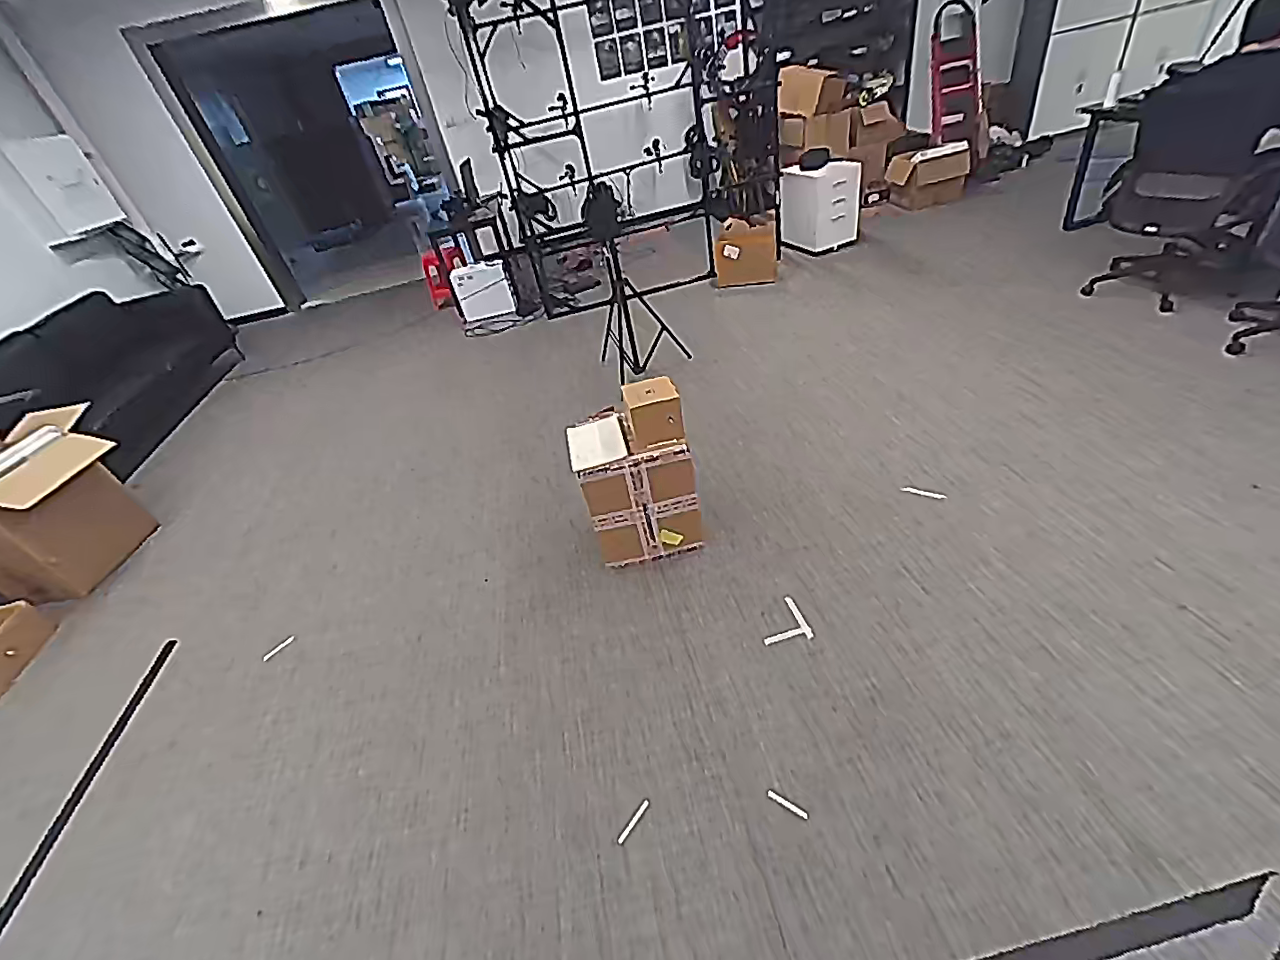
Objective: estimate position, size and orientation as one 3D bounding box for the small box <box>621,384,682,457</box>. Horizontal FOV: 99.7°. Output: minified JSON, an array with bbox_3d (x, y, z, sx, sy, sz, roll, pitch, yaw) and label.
[{"bbox_3d":[0.043,-0.206,1.870,0.179,0.176,0.168,-15,39,-4],"label":"small box"}]
